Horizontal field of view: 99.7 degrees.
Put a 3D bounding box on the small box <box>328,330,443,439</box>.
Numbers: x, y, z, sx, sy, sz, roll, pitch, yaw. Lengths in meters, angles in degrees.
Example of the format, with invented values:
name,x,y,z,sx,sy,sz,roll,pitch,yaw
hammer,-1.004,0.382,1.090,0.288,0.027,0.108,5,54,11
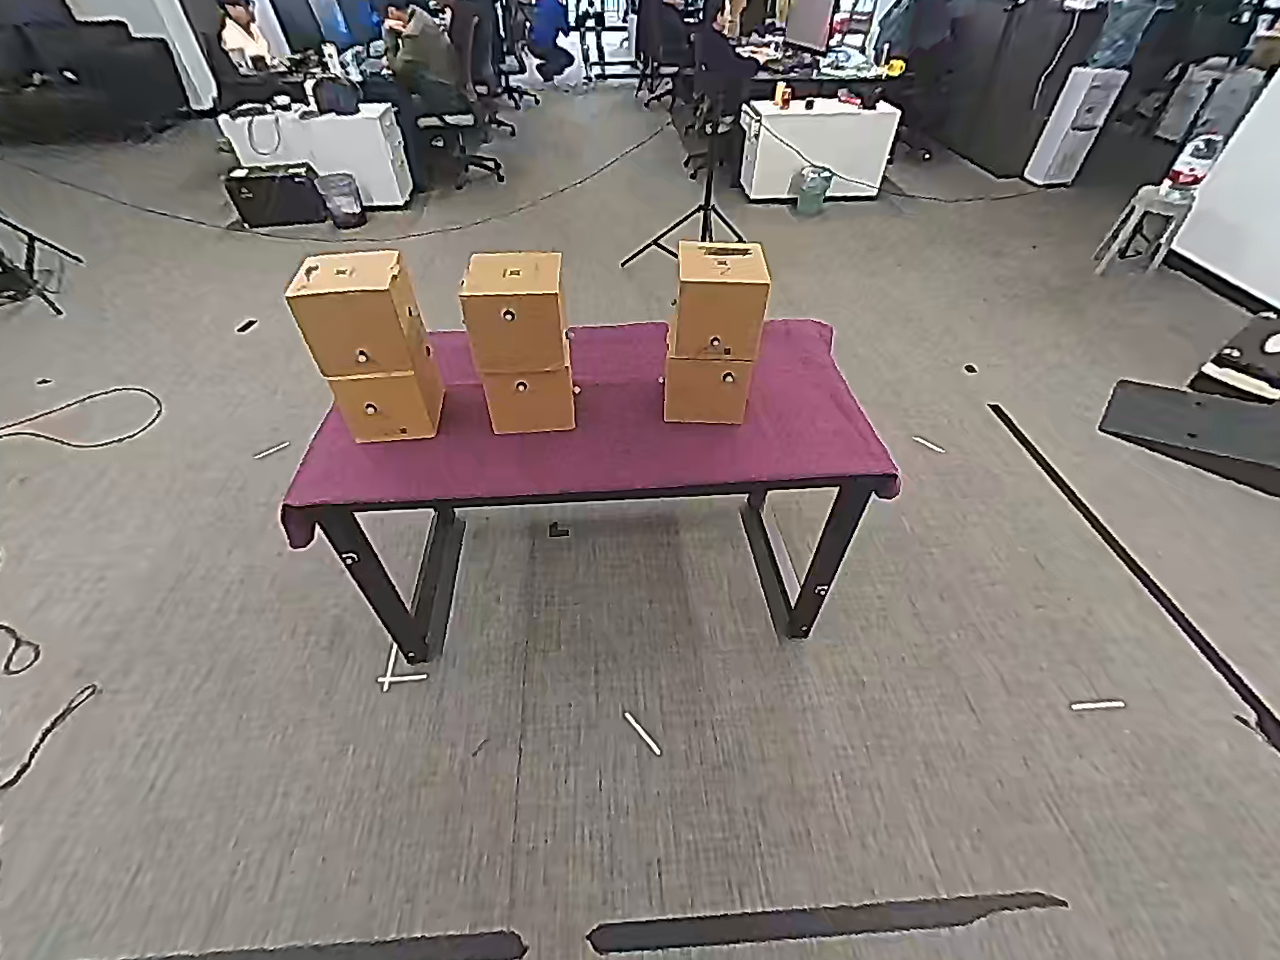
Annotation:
name,x,y,z,sx,sy,sz,roll,pitch,yaw
small box,-0.531,-0.199,1.159,0.168,0.176,0.179,-6,45,-6

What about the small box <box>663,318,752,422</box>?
name,x,y,z,sx,sy,sz,roll,pitch,yaw
small box,0.144,-0.242,1.205,0.179,0.176,0.168,2,45,2

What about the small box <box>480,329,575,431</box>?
name,x,y,z,sx,sy,sz,roll,pitch,yaw
small box,-0.238,-0.220,1.180,0.179,0.176,0.168,-4,46,-6

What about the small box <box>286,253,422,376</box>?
name,x,y,z,sx,sy,sz,roll,pitch,yaw
small box,-0.536,-0.319,1.046,0.179,0.176,0.168,-6,45,-8

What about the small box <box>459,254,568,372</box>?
name,x,y,z,sx,sy,sz,roll,pitch,yaw
small box,-0.237,-0.323,1.055,0.179,0.176,0.168,-2,47,-4
